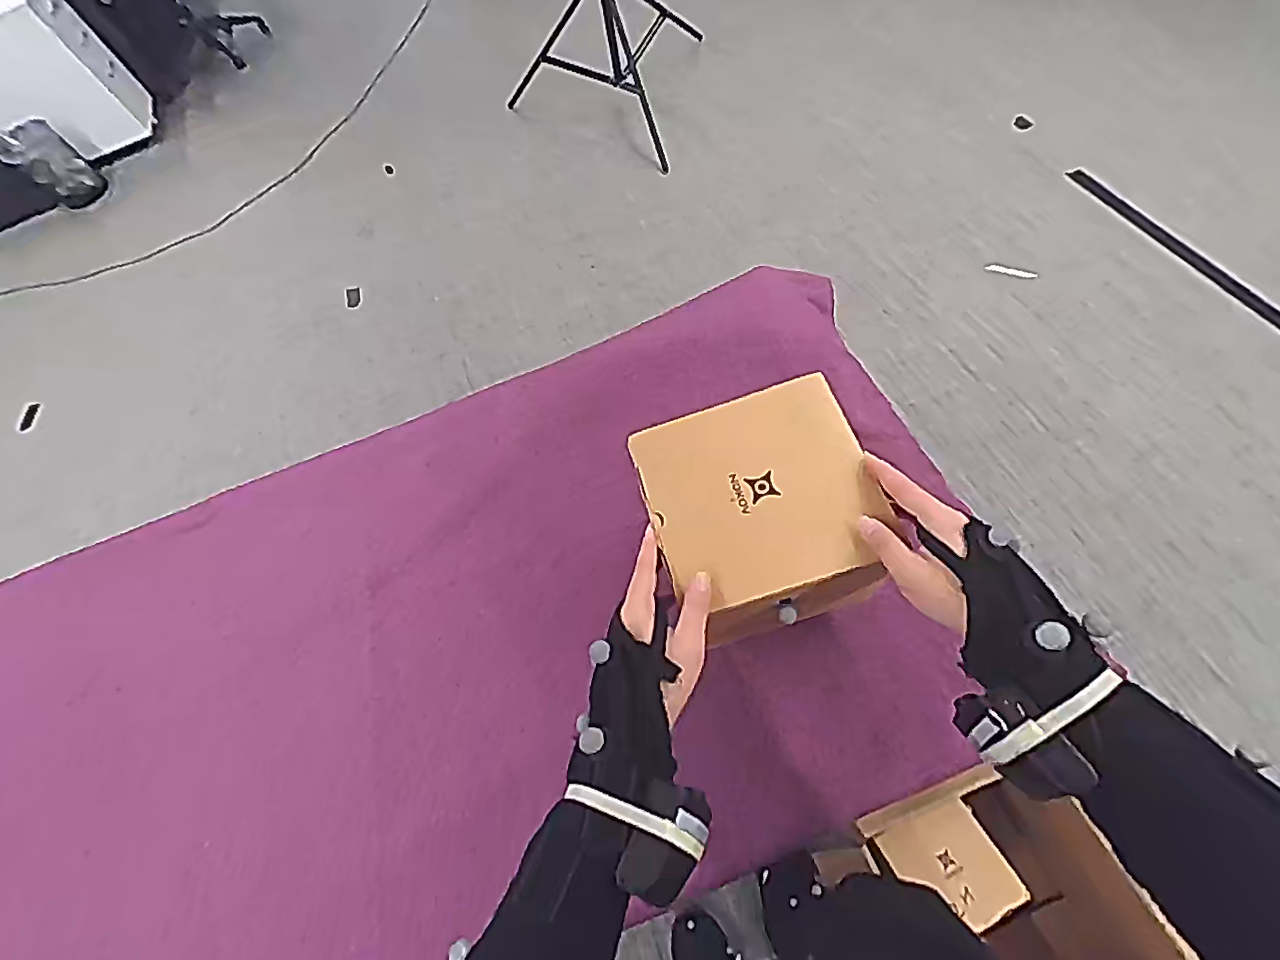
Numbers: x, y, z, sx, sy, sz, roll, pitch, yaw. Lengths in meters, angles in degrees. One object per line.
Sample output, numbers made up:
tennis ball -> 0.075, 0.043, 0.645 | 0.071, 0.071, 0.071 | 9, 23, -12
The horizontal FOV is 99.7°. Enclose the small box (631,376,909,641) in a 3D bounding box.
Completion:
small box -> 0.108, 0.038, 0.499 | 0.179, 0.176, 0.168 | -19, 64, 4
